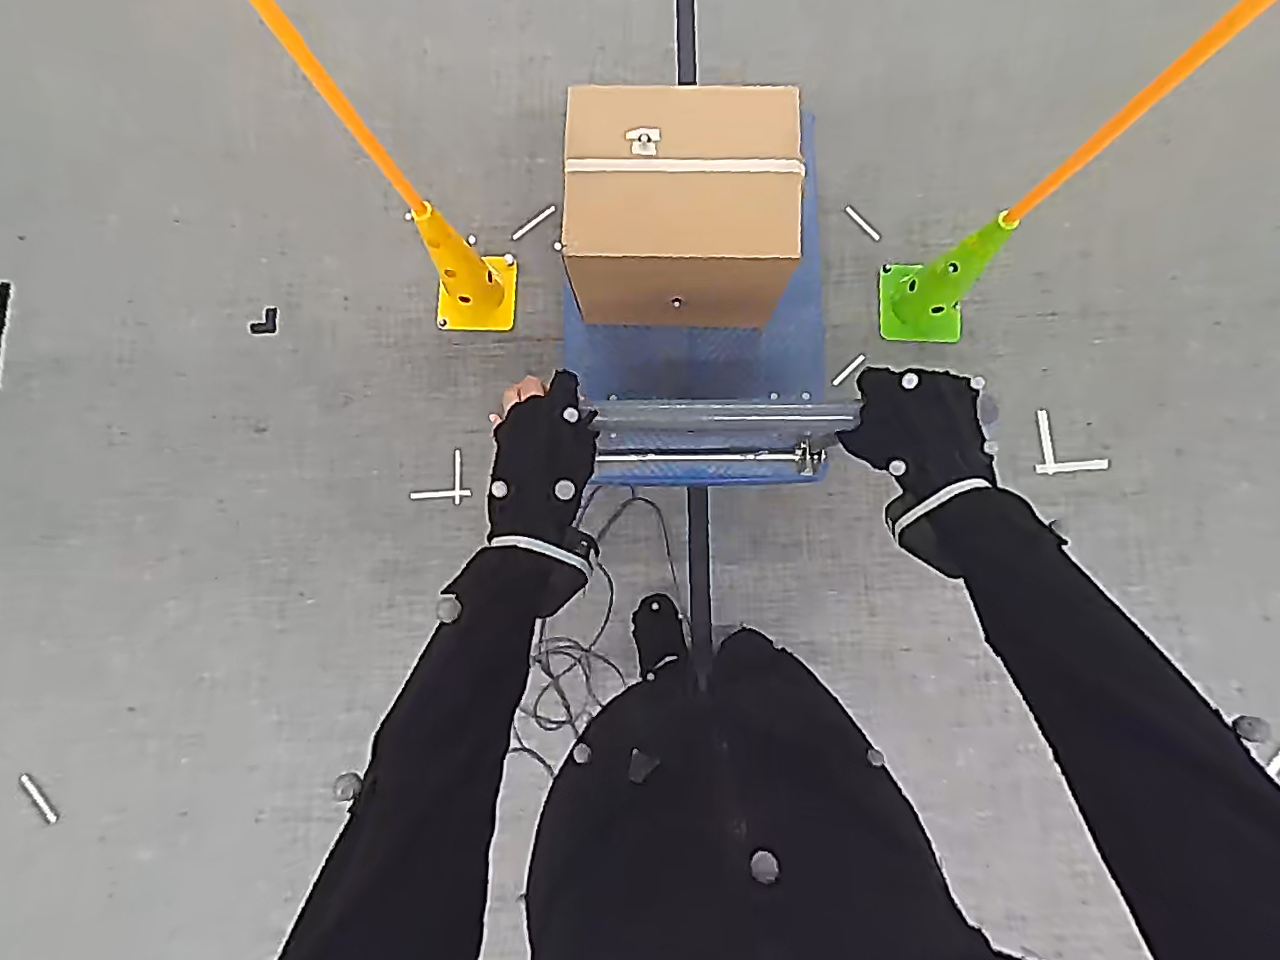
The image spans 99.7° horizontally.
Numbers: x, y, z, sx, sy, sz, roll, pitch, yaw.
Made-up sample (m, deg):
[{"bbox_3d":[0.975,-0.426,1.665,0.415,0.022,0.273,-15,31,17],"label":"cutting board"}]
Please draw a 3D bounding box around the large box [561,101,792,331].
[{"bbox_3d":[0.070,-0.500,1.089,0.408,0.320,0.320,1,84,3],"label":"large box"}]

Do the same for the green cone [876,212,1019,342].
[{"bbox_3d":[0.701,-0.469,1.208,0.202,0.368,0.200,2,84,1],"label":"green cone"}]
